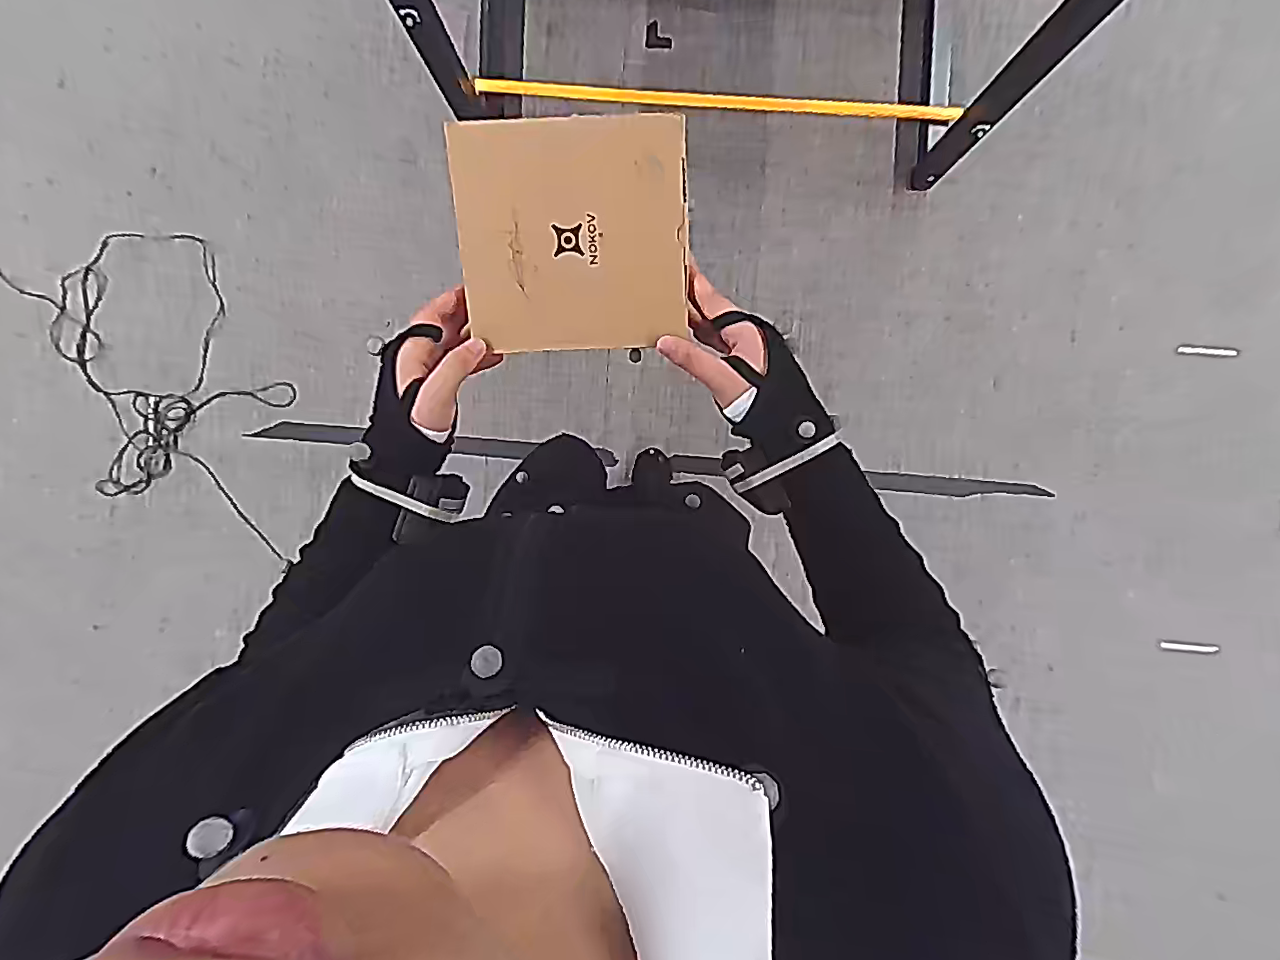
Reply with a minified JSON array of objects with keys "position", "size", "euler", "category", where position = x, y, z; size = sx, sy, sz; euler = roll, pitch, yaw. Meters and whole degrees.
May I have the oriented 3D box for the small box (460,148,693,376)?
[{"position":[-0.047,-0.190,0.507],"size":[0.179,0.176,0.168],"euler":[-3,105,1],"category":"small box"}]
